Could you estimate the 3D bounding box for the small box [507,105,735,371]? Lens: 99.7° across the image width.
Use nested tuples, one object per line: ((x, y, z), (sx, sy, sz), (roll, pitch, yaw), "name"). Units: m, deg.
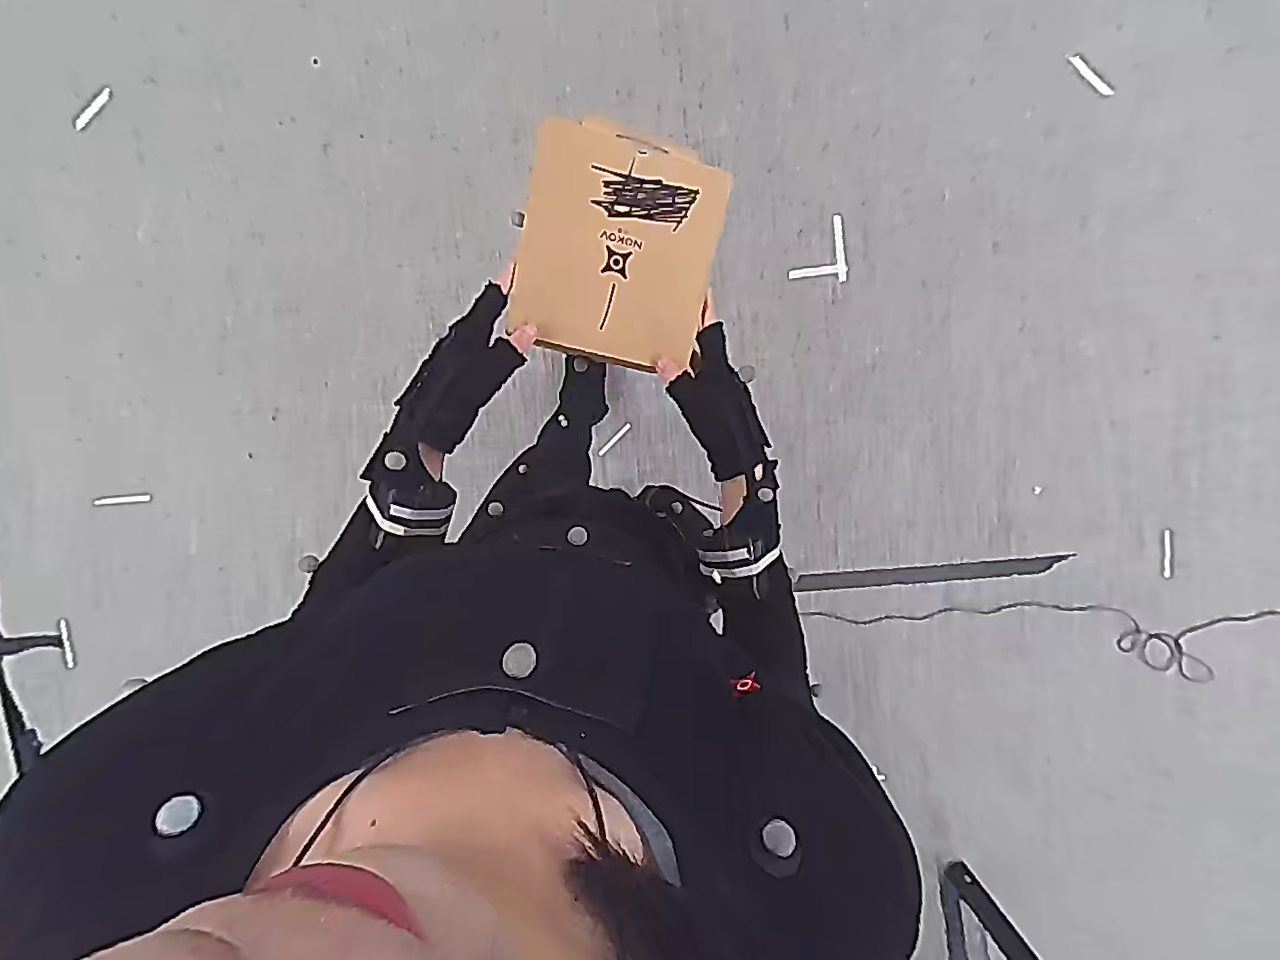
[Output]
((-0.029, -0.212, 0.531), (0.168, 0.176, 0.179), (12, 99, -12), "small box")
